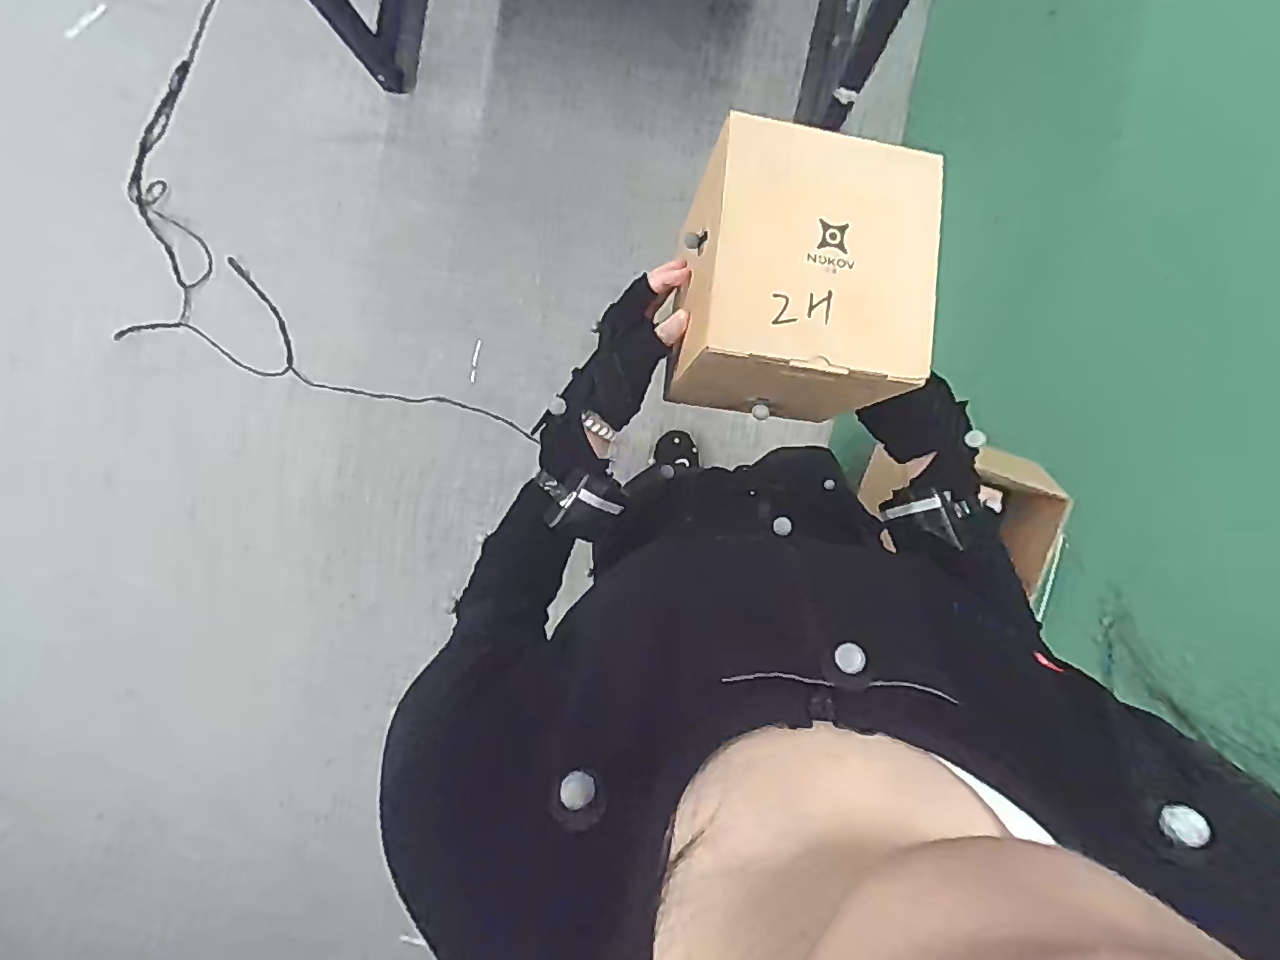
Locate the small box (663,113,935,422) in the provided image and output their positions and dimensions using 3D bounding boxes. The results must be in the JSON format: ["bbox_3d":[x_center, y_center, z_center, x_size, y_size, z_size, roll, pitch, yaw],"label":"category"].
[{"bbox_3d":[0.119,-0.158,0.462,0.168,0.176,0.179,7,85,-7],"label":"small box"}]
